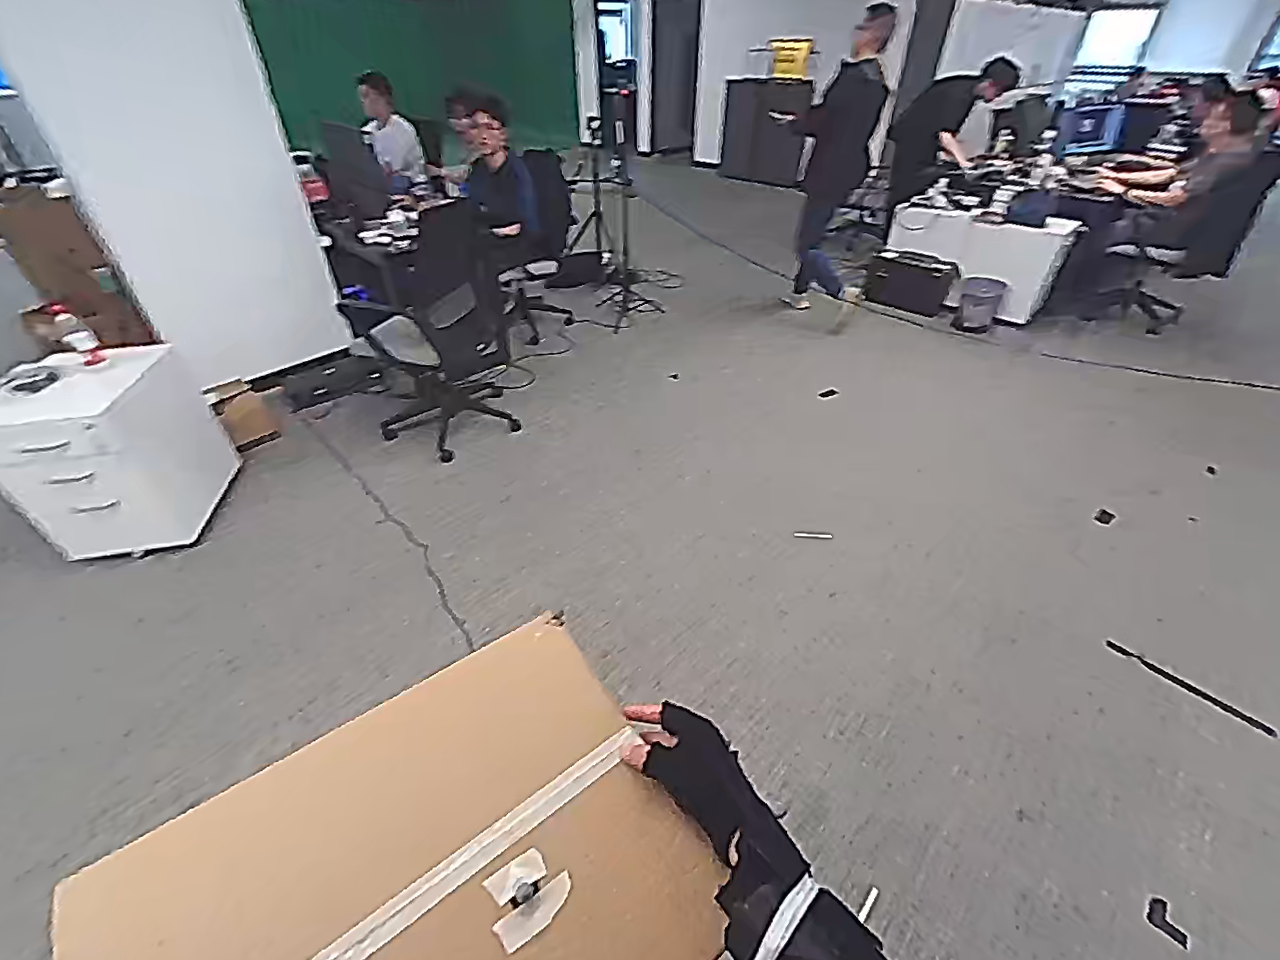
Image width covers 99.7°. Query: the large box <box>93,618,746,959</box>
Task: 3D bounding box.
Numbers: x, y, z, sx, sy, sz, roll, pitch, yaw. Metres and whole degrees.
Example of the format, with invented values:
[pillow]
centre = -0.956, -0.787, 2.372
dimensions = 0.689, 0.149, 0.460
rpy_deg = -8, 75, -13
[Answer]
[large box]
centre = -0.173, 0.419, 0.518
dimensions = 0.408, 0.320, 0.320
rpy_deg = -25, 53, -28
